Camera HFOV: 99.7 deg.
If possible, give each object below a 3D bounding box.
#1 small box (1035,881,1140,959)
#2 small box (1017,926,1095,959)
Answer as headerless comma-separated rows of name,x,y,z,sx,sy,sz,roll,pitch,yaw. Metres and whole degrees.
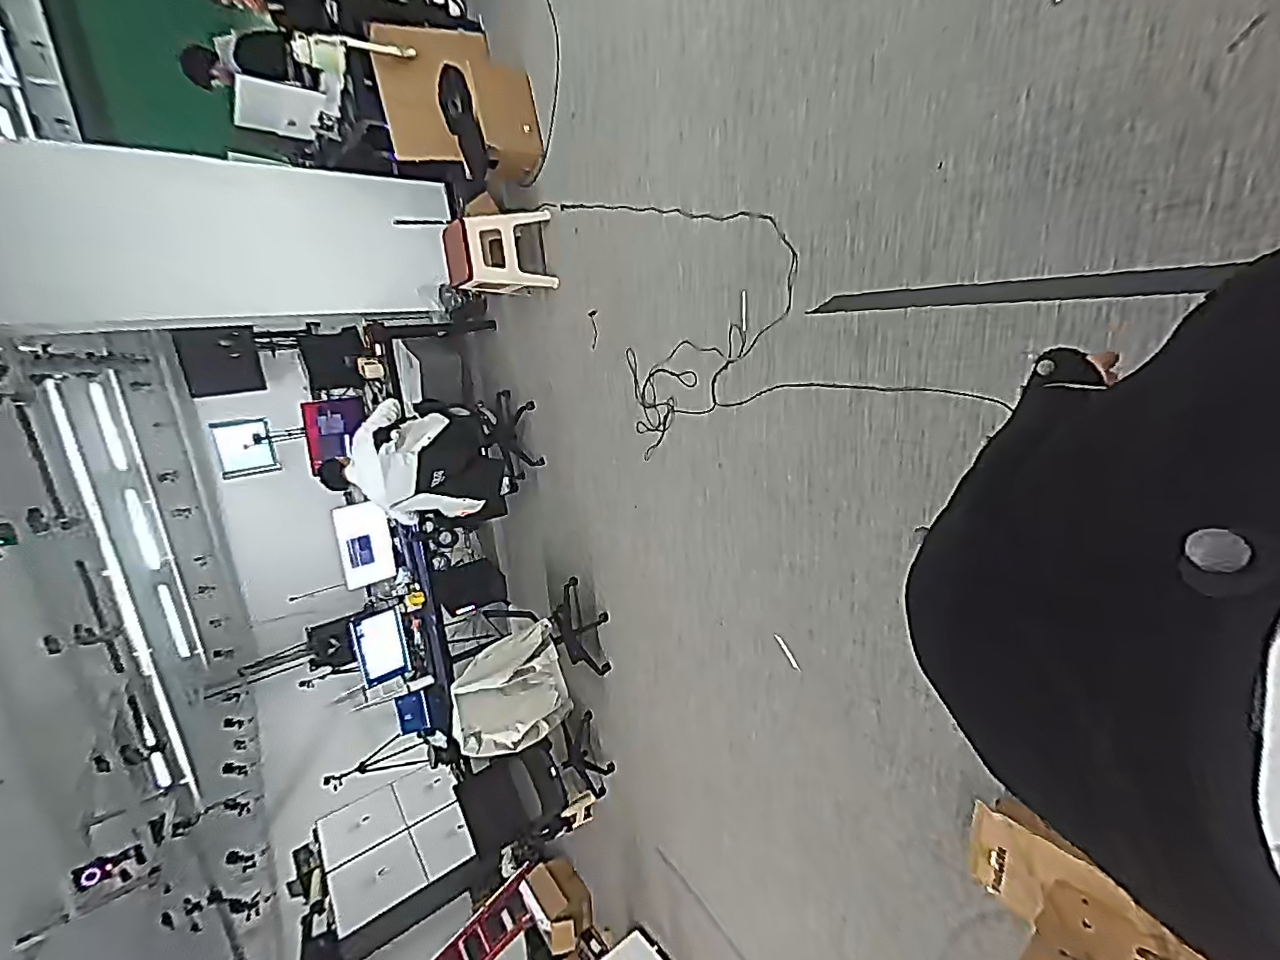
small box,1.078,1.139,1.311,0.168,0.176,0.179,13,113,52
small box,0.954,1.178,1.213,0.168,0.176,0.179,9,110,52
